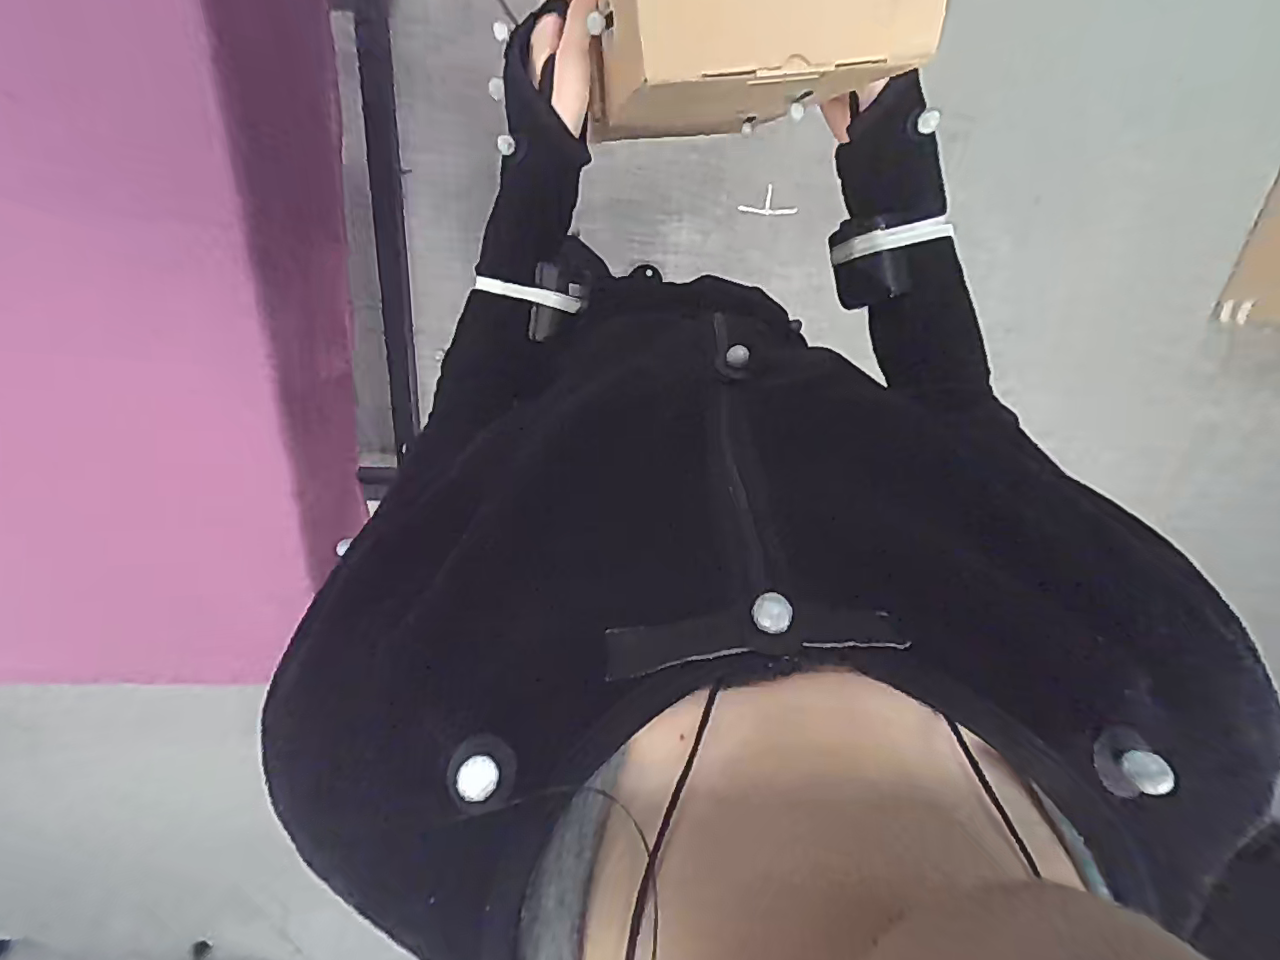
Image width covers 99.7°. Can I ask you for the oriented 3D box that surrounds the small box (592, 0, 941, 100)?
[{"bbox_3d":[0.059,-0.336,0.311,0.168,0.176,0.179,-9,117,-7],"label":"small box"}]

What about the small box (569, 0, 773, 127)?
[{"bbox_3d":[0.031,-0.407,0.454,0.179,0.176,0.168,-8,117,-7],"label":"small box"}]
